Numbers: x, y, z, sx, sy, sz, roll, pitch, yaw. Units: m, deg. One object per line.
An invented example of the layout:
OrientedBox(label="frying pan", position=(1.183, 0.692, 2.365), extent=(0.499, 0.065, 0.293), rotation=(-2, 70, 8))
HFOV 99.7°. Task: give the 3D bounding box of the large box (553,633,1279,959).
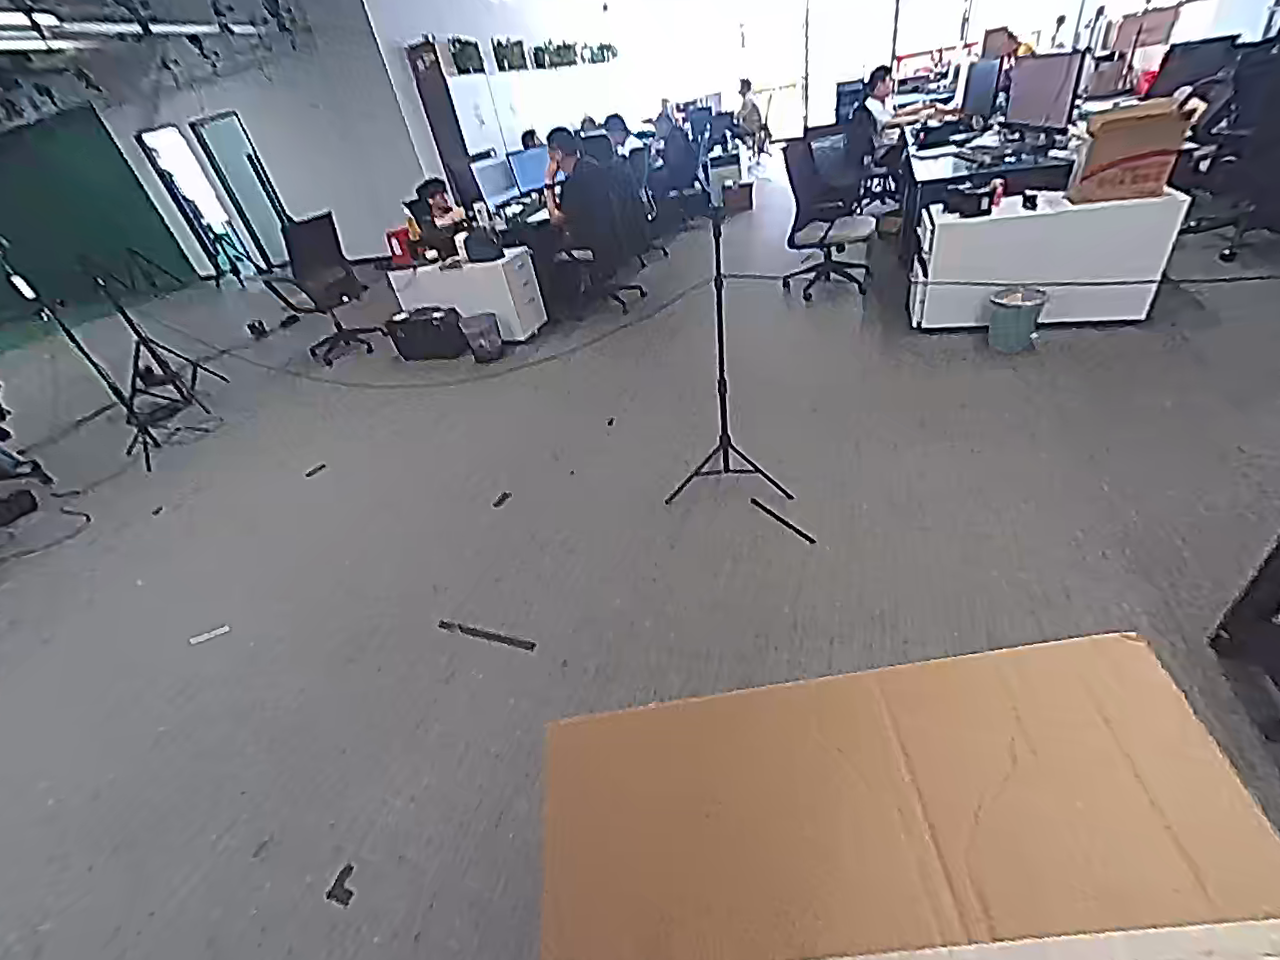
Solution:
OrientedBox(label="large box", position=(0.175, 0.352, 0.412), extent=(0.408, 0.320, 0.320), rotation=(-13, 53, 8))
